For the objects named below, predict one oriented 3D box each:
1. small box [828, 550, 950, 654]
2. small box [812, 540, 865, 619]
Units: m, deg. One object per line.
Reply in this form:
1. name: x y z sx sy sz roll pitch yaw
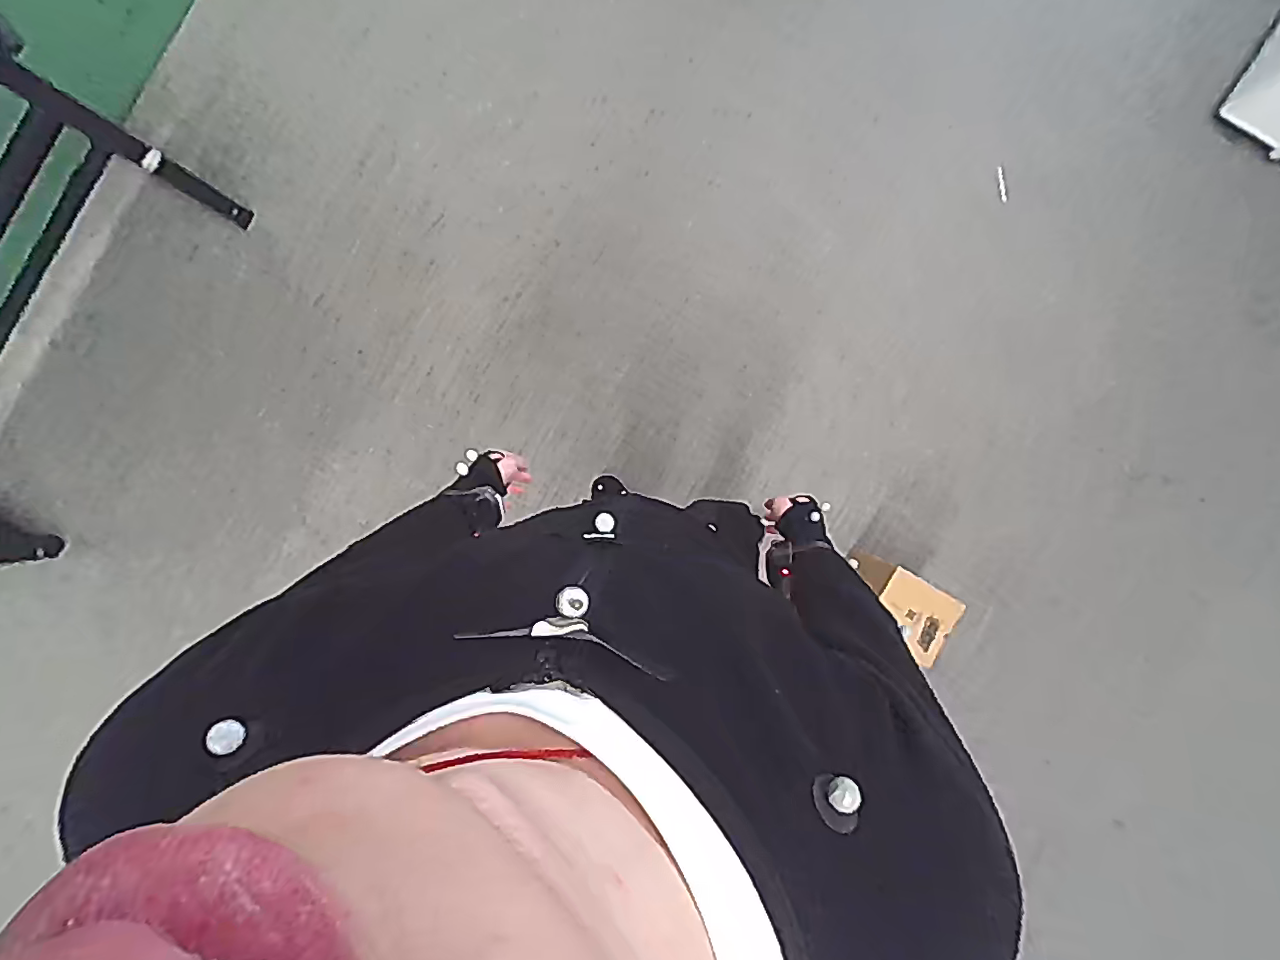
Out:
1. small box: 0.597 0.286 1.319 0.179 0.176 0.168 34 89 -1
2. small box: 0.600 0.285 1.505 0.168 0.176 0.179 29 90 0
